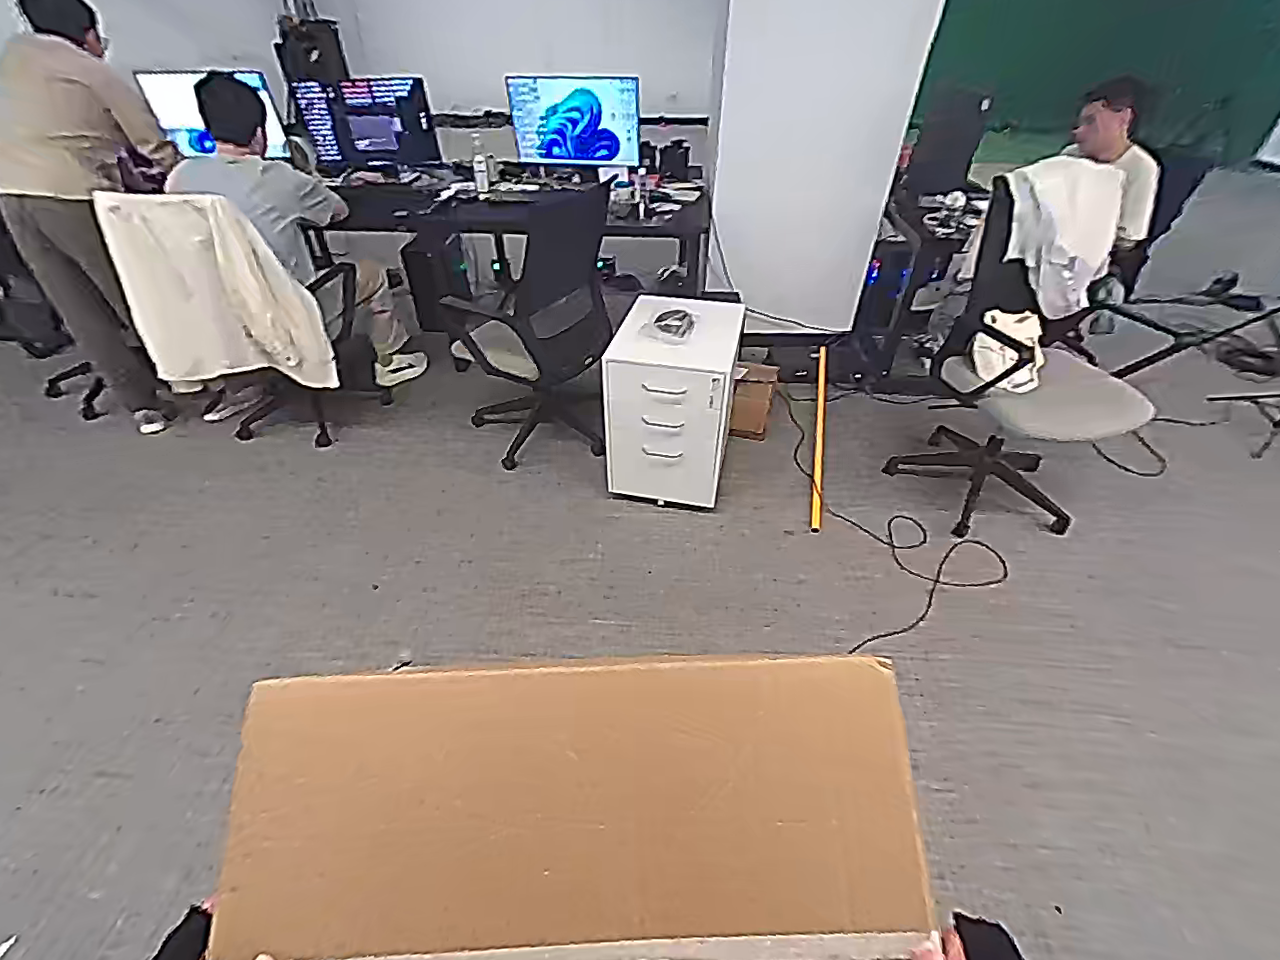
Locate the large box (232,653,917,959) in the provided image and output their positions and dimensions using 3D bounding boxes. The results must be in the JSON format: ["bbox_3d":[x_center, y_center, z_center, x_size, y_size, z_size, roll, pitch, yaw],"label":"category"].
[{"bbox_3d":[-0.039,0.317,0.453,0.408,0.320,0.320,-2,73,0],"label":"large box"}]
